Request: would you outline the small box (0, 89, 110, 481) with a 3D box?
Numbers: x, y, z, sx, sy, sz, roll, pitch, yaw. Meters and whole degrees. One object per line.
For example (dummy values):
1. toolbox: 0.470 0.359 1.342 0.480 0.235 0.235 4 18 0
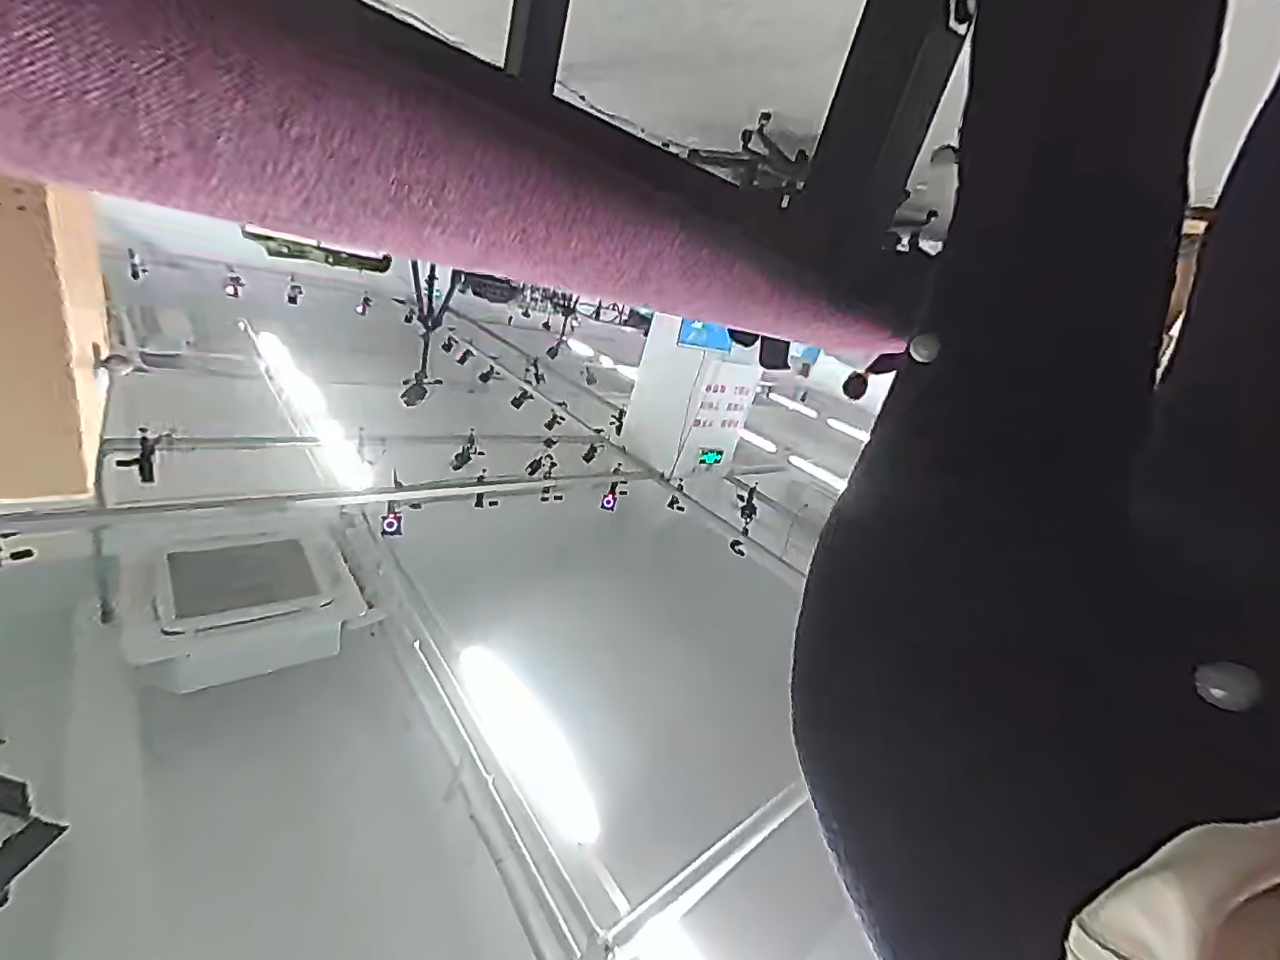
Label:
1. small box: -0.371 -0.109 0.253 0.168 0.176 0.179 -4 -151 -40
